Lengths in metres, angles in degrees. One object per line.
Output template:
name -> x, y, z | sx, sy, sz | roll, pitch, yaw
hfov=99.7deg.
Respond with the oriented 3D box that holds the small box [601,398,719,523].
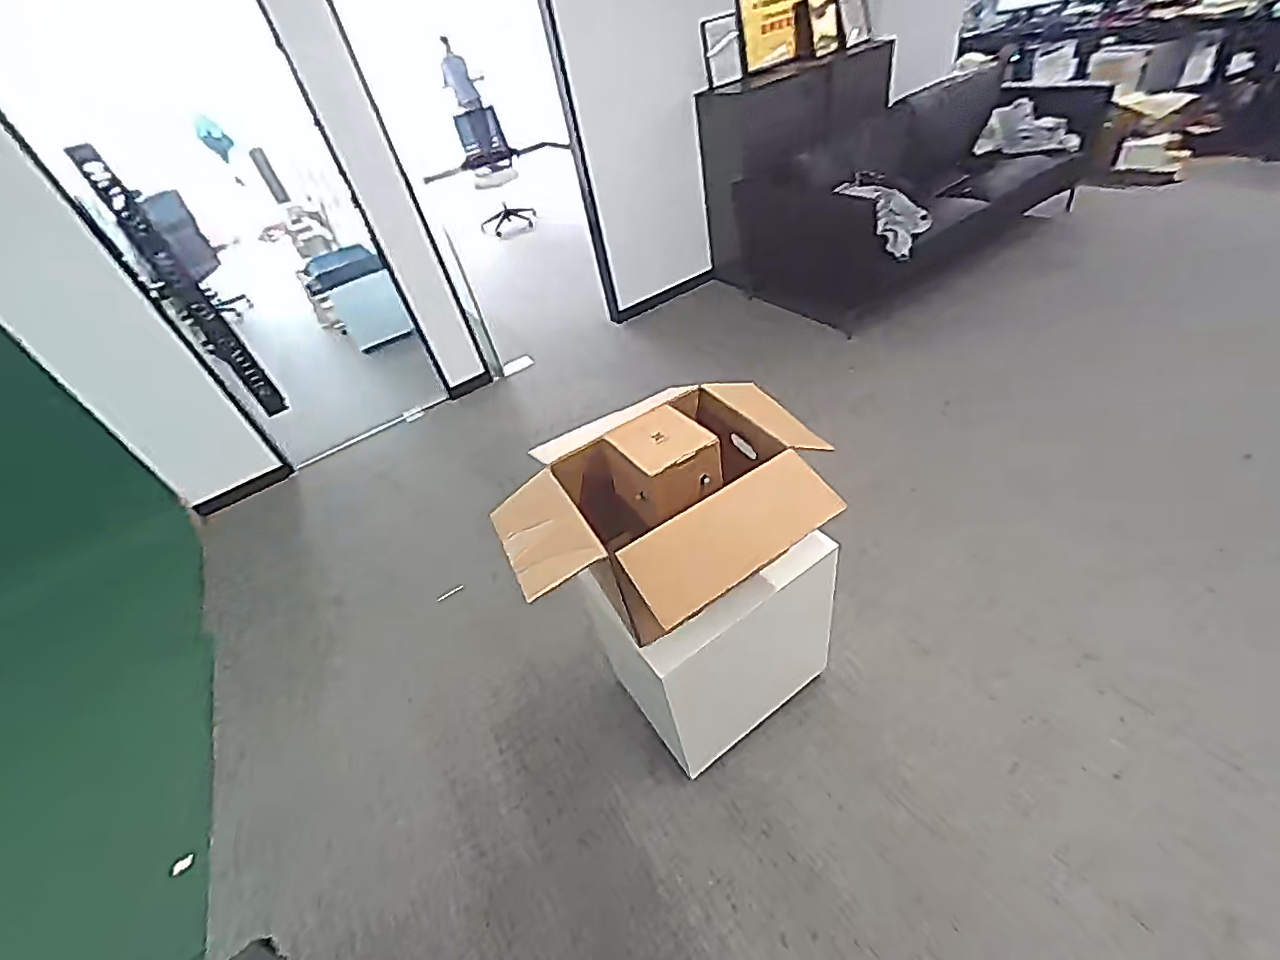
small box -> 0.046, -0.035, 1.105 | 0.168, 0.176, 0.179 | -29, 42, -20
